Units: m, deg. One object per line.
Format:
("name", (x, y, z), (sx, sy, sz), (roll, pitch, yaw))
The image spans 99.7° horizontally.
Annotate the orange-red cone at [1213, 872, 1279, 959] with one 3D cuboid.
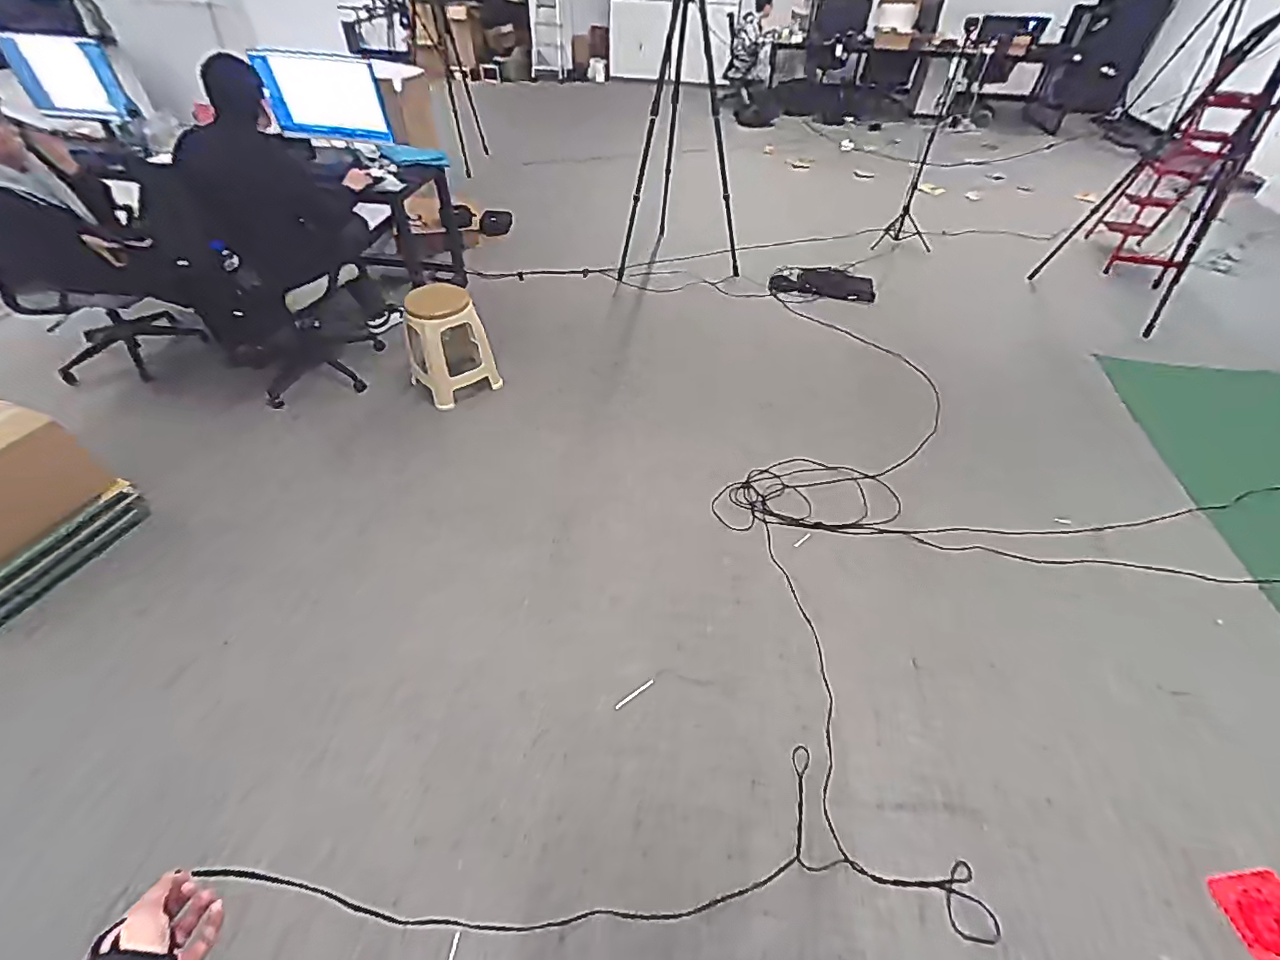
("orange-red cone", (1.522, 0.940, 1.168), (0.198, 0.360, 0.199), (-2, 44, -5))
